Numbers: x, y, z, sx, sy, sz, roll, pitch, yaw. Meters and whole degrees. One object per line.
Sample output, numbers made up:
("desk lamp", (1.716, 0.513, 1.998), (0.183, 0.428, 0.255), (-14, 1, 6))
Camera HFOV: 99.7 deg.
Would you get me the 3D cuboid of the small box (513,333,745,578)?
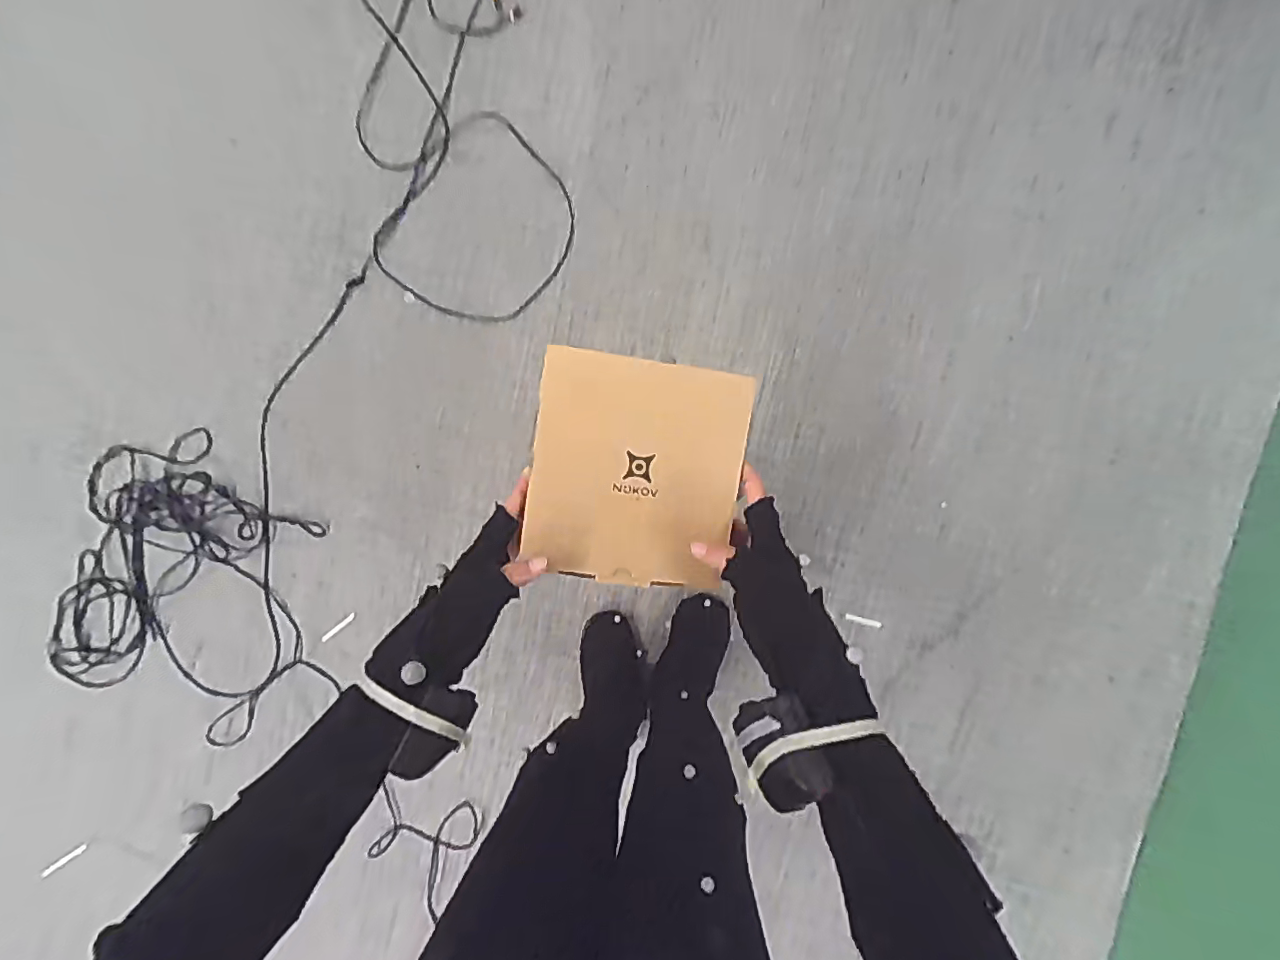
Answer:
("small box", (-0.018, -0.024, 0.504), (0.168, 0.176, 0.179), (8, 96, -7))
